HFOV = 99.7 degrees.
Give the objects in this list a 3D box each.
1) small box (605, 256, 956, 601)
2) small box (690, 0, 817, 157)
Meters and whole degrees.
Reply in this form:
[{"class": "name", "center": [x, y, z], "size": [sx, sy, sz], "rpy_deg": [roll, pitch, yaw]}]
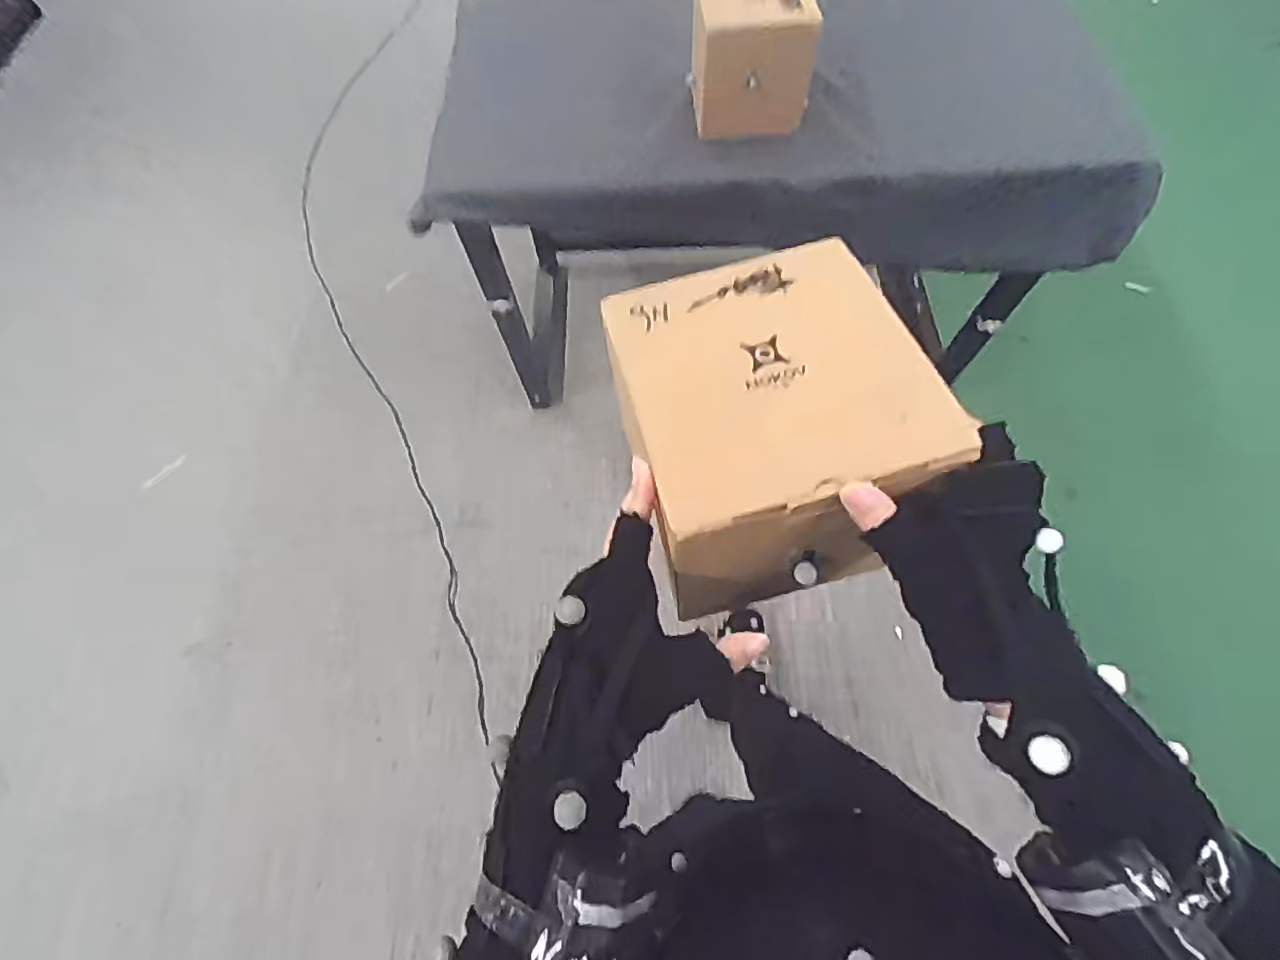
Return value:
[{"class": "small box", "center": [0.082, -0.023, 0.398], "size": [0.168, 0.176, 0.179], "rpy_deg": [-15, 61, -3]}, {"class": "small box", "center": [0.183, -0.687, 0.925], "size": [0.179, 0.176, 0.168], "rpy_deg": [-4, 64, 2]}]
